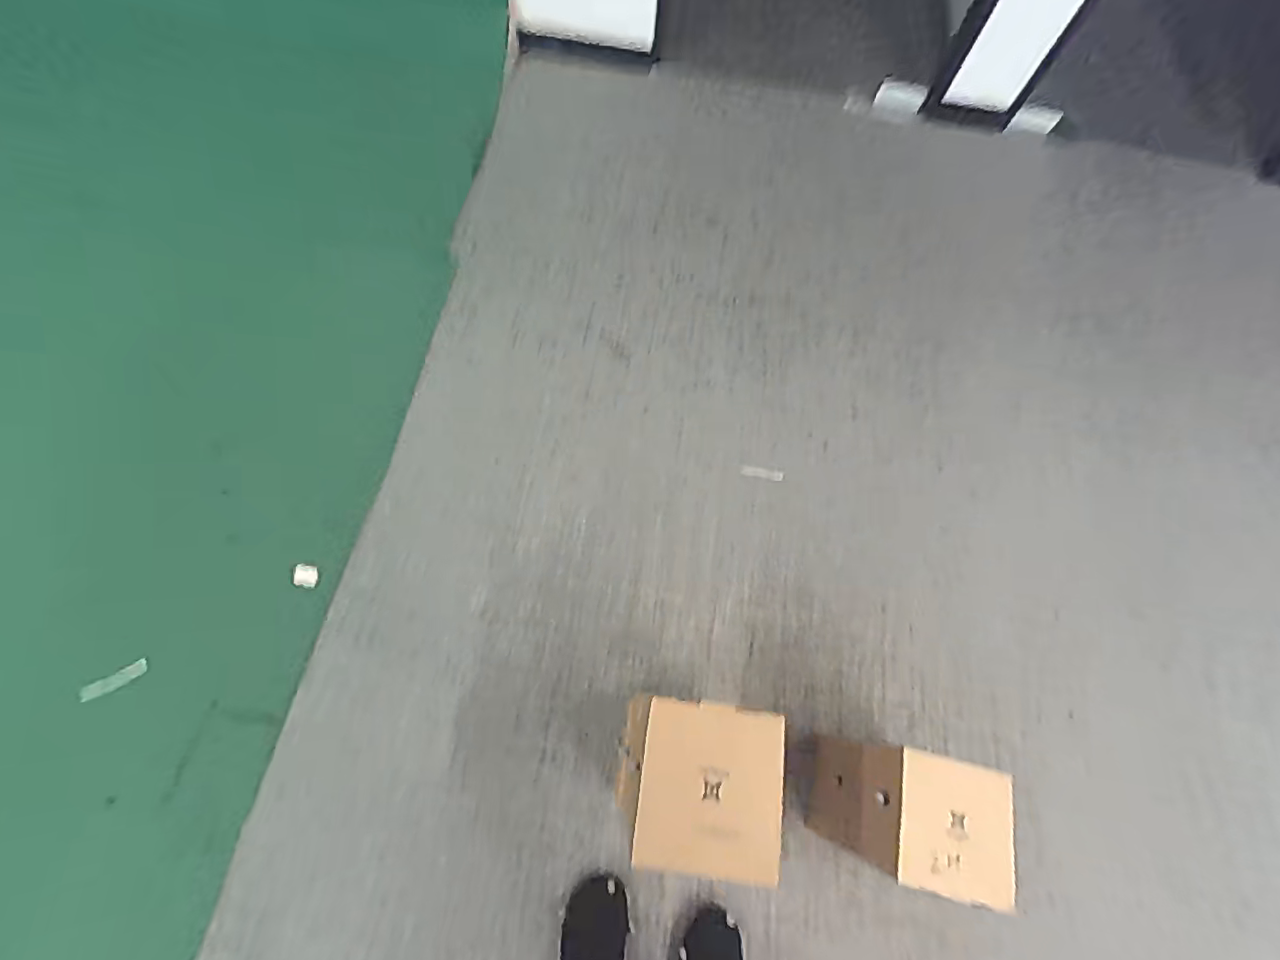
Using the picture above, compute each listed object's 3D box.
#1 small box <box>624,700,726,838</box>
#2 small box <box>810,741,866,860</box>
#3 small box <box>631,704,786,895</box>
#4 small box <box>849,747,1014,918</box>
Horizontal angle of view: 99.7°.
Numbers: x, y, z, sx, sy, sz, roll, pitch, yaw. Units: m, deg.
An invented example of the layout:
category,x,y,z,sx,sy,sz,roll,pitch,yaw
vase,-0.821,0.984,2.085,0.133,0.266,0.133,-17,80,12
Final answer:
category,x,y,z,sx,sy,sz,roll,pitch,yaw
small box,0.066,0.449,0.845,0.168,0.176,0.179,8,68,-1
small box,0.428,0.596,0.994,0.168,0.176,0.179,16,68,2
small box,0.081,0.391,0.694,0.168,0.176,0.179,8,68,0
small box,0.444,0.531,0.843,0.168,0.176,0.179,14,67,2
